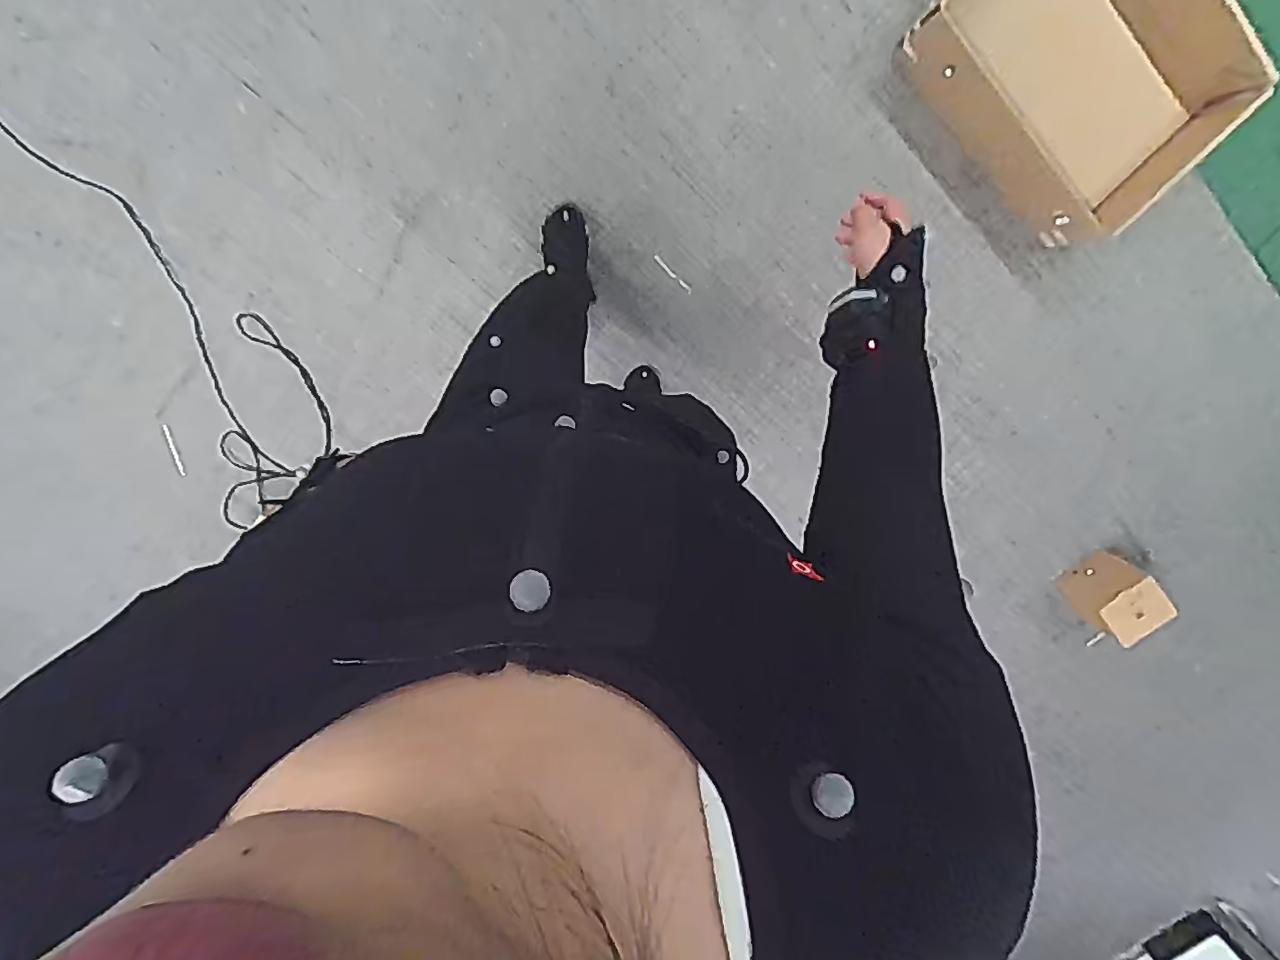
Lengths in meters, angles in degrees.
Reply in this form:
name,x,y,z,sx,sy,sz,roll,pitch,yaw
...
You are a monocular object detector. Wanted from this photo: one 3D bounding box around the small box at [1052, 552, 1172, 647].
name,x,y,z,sx,sy,sz,roll,pitch,yaw
small box,1.374,0.342,1.584,0.168,0.176,0.179,-42,105,11
